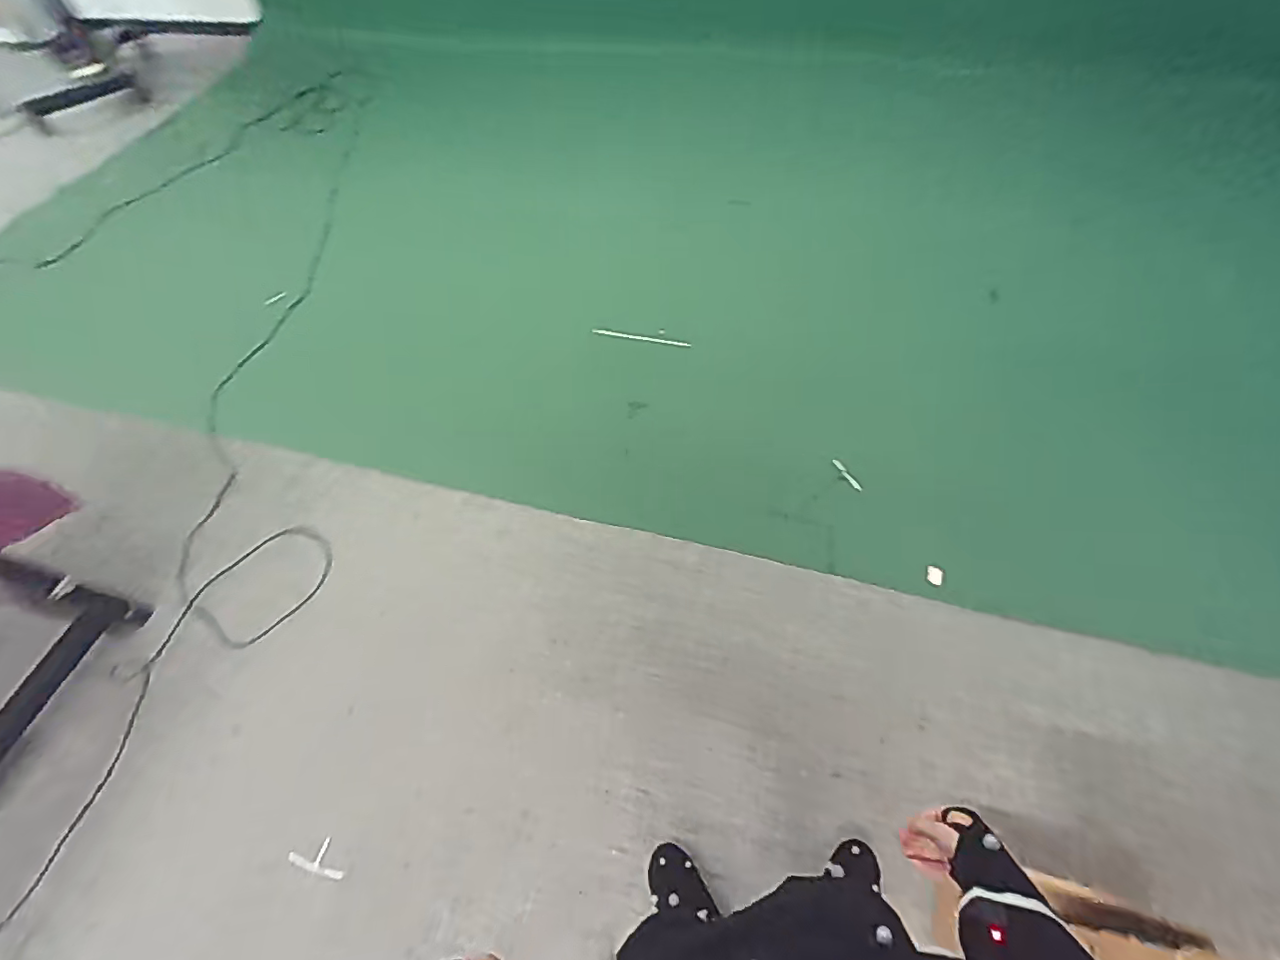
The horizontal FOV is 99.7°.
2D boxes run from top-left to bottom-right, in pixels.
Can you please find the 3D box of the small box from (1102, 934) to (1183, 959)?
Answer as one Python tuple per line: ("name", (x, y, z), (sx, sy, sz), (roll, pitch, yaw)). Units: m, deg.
("small box", (0.847, 0.812, 0.803), (0.179, 0.176, 0.168), (11, 60, 12))
